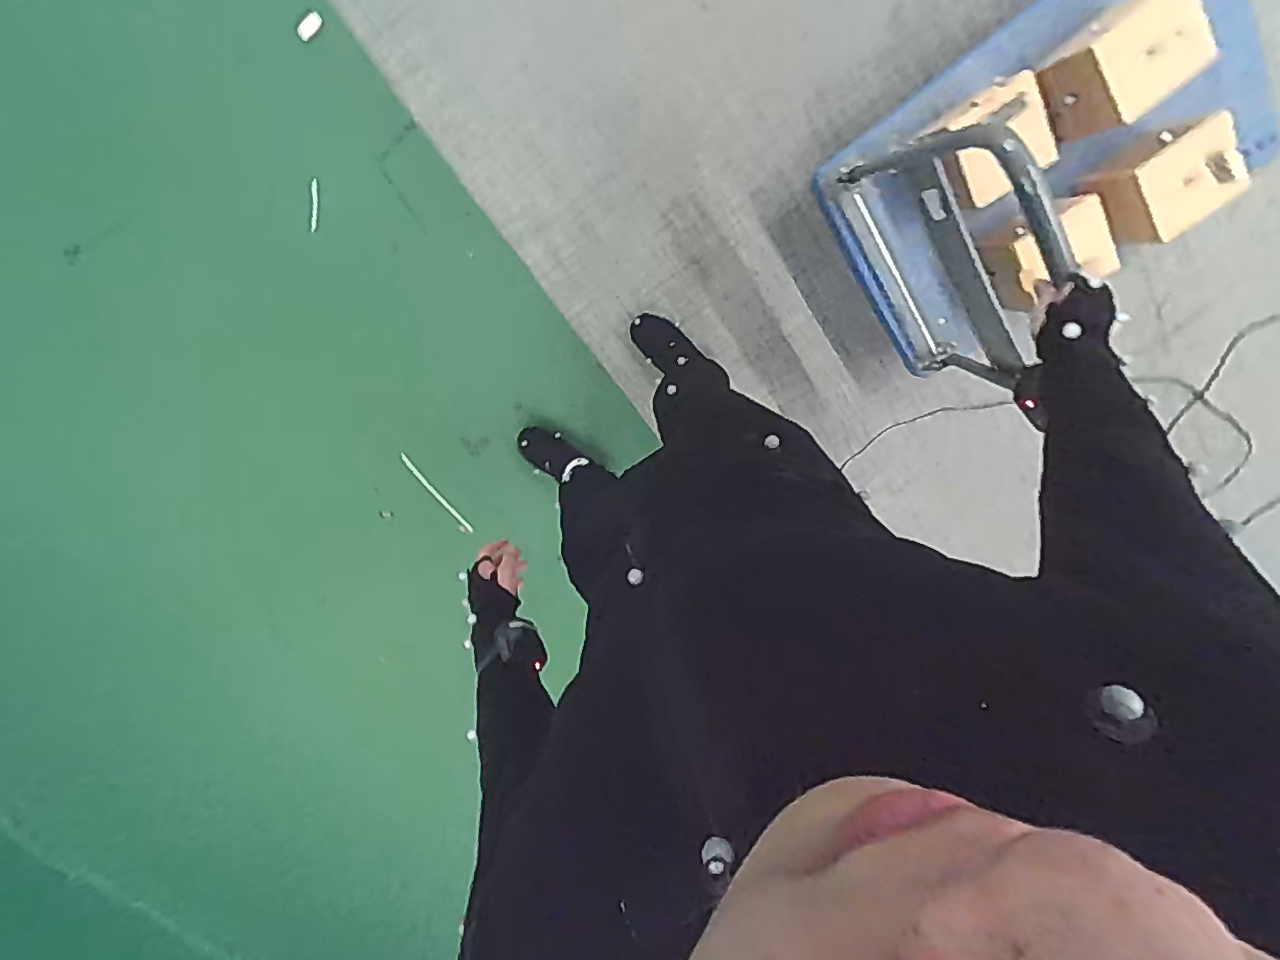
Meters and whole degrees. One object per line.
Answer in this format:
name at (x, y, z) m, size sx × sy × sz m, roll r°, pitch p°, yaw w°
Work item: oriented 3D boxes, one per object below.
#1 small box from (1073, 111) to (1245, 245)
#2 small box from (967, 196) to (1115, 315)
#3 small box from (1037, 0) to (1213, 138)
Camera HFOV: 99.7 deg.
small box at (1.075, -0.619, 1.132) m, size 0.179 × 0.176 × 0.168 m, roll -35°, pitch 107°, yaw 14°
small box at (0.869, -0.490, 1.186) m, size 0.179 × 0.176 × 0.168 m, roll -32°, pitch 109°, yaw 13°
small box at (0.925, -0.809, 1.054) m, size 0.179 × 0.176 × 0.168 m, roll -38°, pitch 108°, yaw 14°
